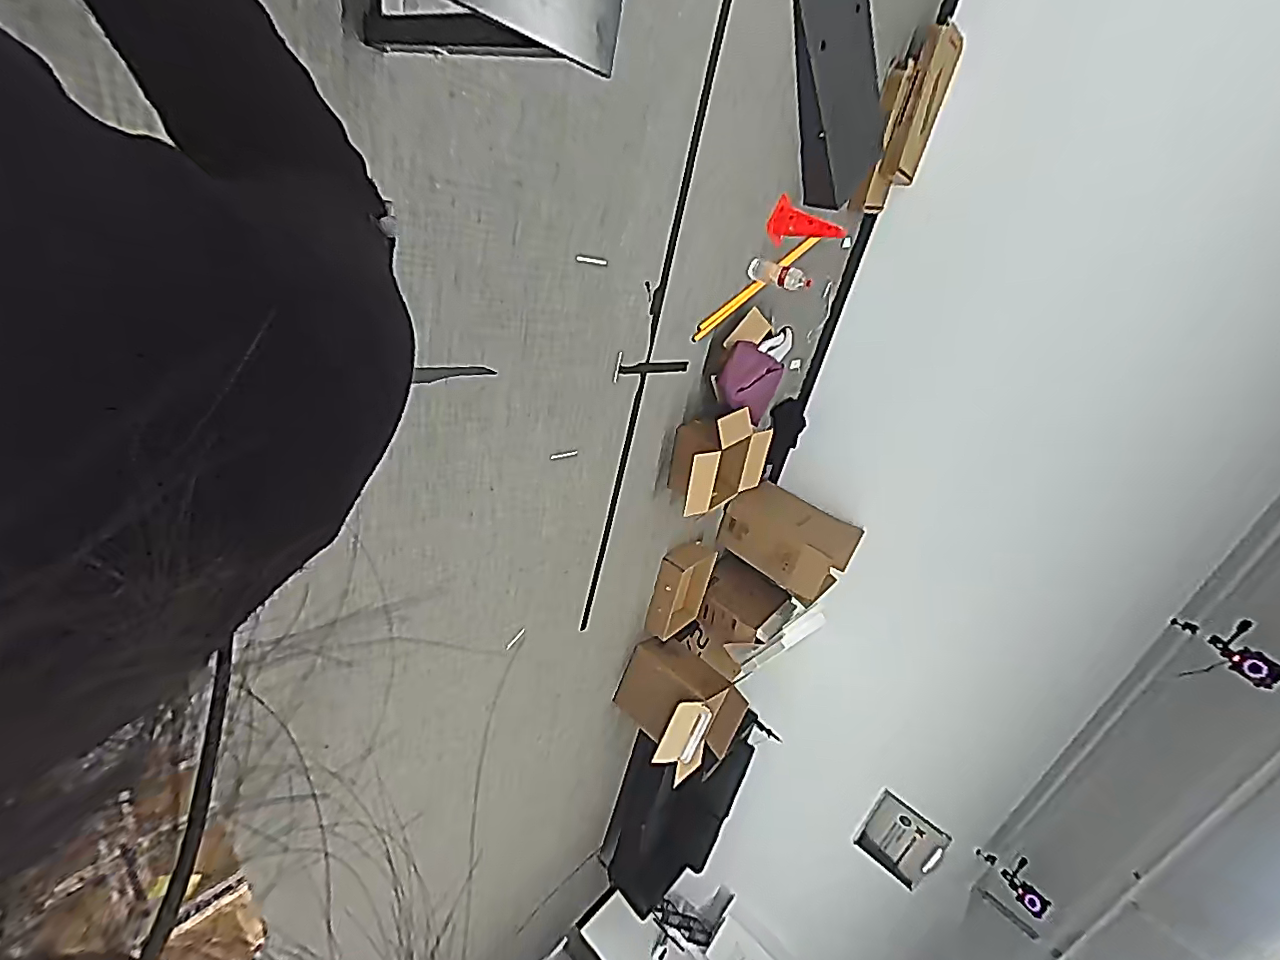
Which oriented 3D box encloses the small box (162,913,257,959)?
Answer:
[{"bbox_3d":[-1.060,1.244,1.345,0.168,0.176,0.179,-23,129,-46],"label":"small box"}]
